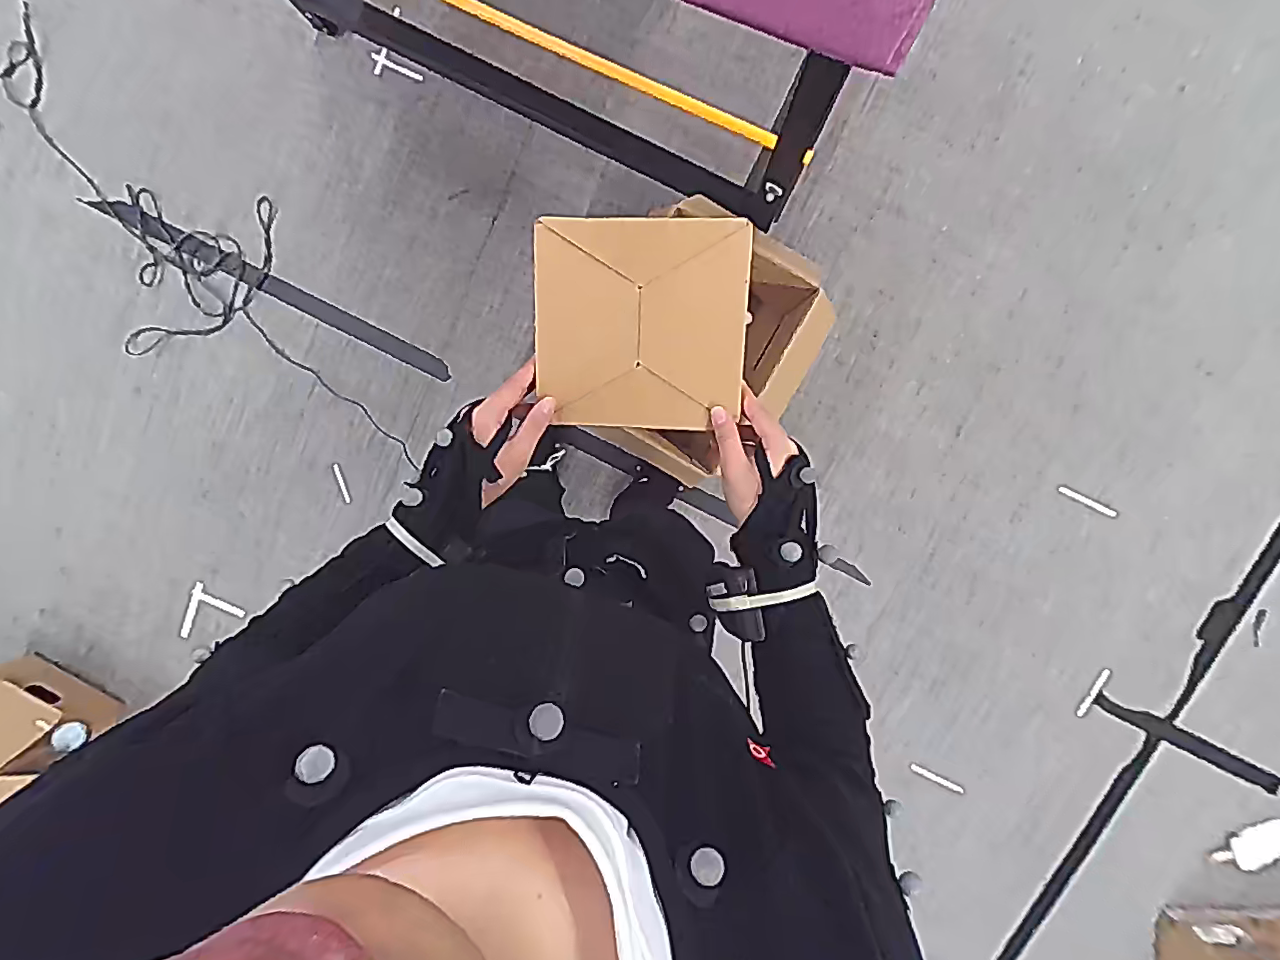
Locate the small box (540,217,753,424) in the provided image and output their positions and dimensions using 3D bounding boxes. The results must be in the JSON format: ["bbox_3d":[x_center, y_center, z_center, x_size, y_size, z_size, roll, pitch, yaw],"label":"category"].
[{"bbox_3d":[0.005,-0.144,0.521,0.179,0.176,0.168,2,101,4],"label":"small box"}]
